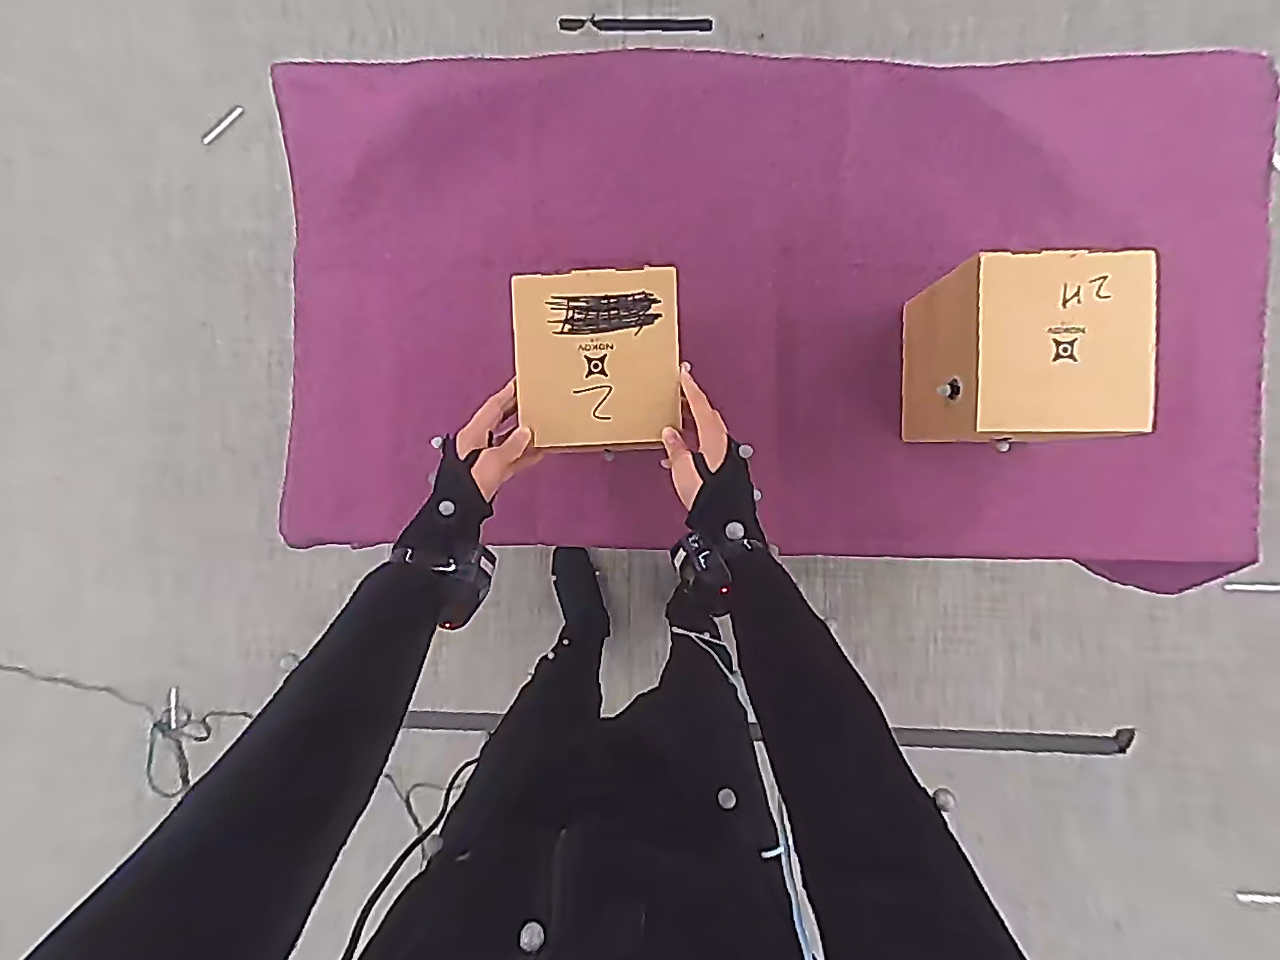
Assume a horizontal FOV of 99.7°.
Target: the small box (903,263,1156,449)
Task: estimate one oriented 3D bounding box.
[{"bbox_3d":[0.412,-0.124,0.601,0.168,0.176,0.179,1,91,2],"label":"small box"}]
